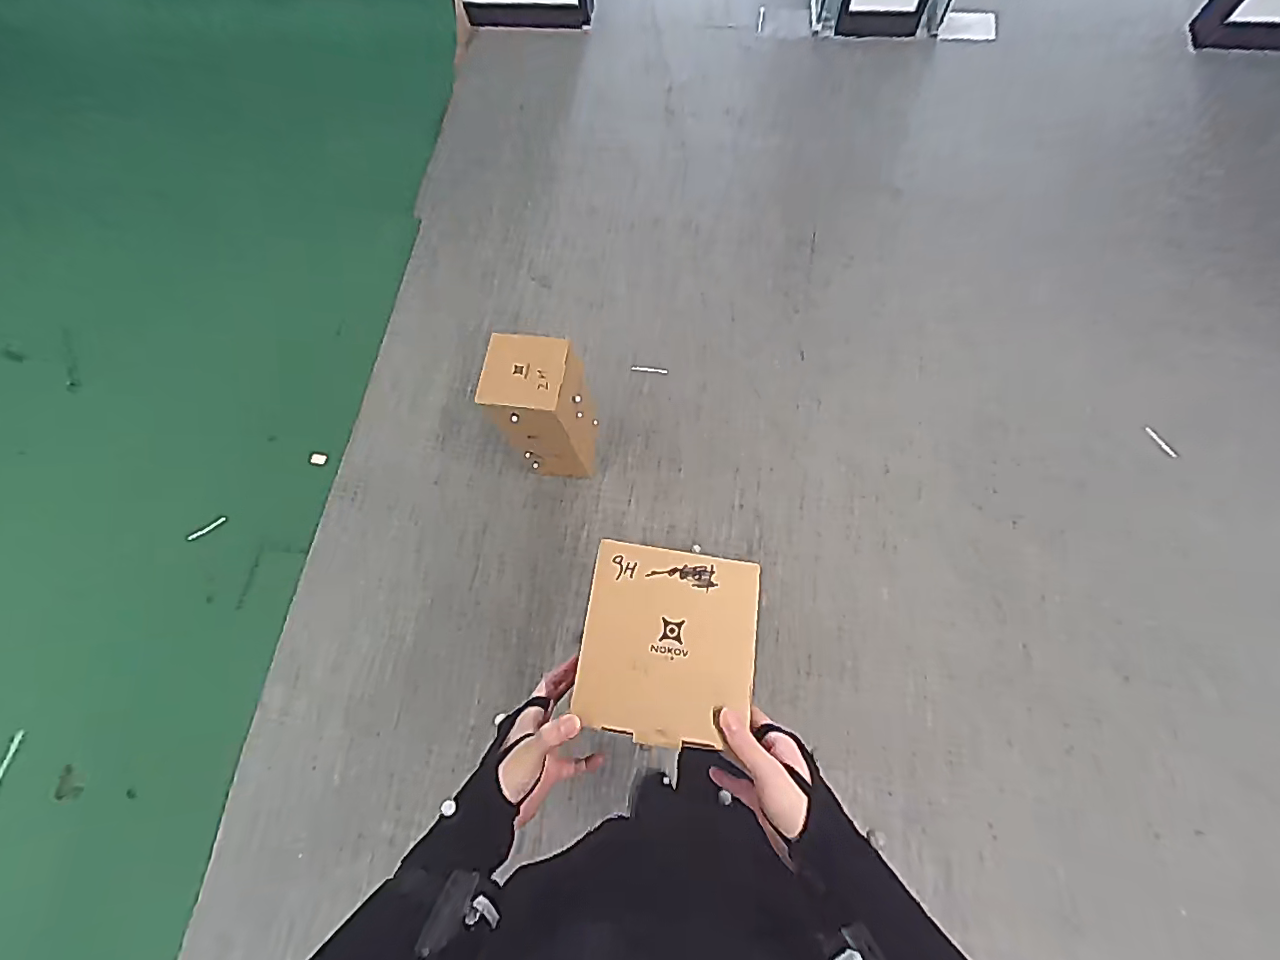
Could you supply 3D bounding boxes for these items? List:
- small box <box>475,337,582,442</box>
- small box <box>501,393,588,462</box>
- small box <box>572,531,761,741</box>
[{"bbox_3d":[-0.238,-0.195,1.200,0.179,0.176,0.168,7,73,5],"label":"small box"},{"bbox_3d":[-0.231,-0.156,1.361,0.168,0.176,0.179,6,72,5],"label":"small box"},{"bbox_3d":[0.025,0.173,0.598,0.168,0.176,0.179,10,69,-2],"label":"small box"}]
